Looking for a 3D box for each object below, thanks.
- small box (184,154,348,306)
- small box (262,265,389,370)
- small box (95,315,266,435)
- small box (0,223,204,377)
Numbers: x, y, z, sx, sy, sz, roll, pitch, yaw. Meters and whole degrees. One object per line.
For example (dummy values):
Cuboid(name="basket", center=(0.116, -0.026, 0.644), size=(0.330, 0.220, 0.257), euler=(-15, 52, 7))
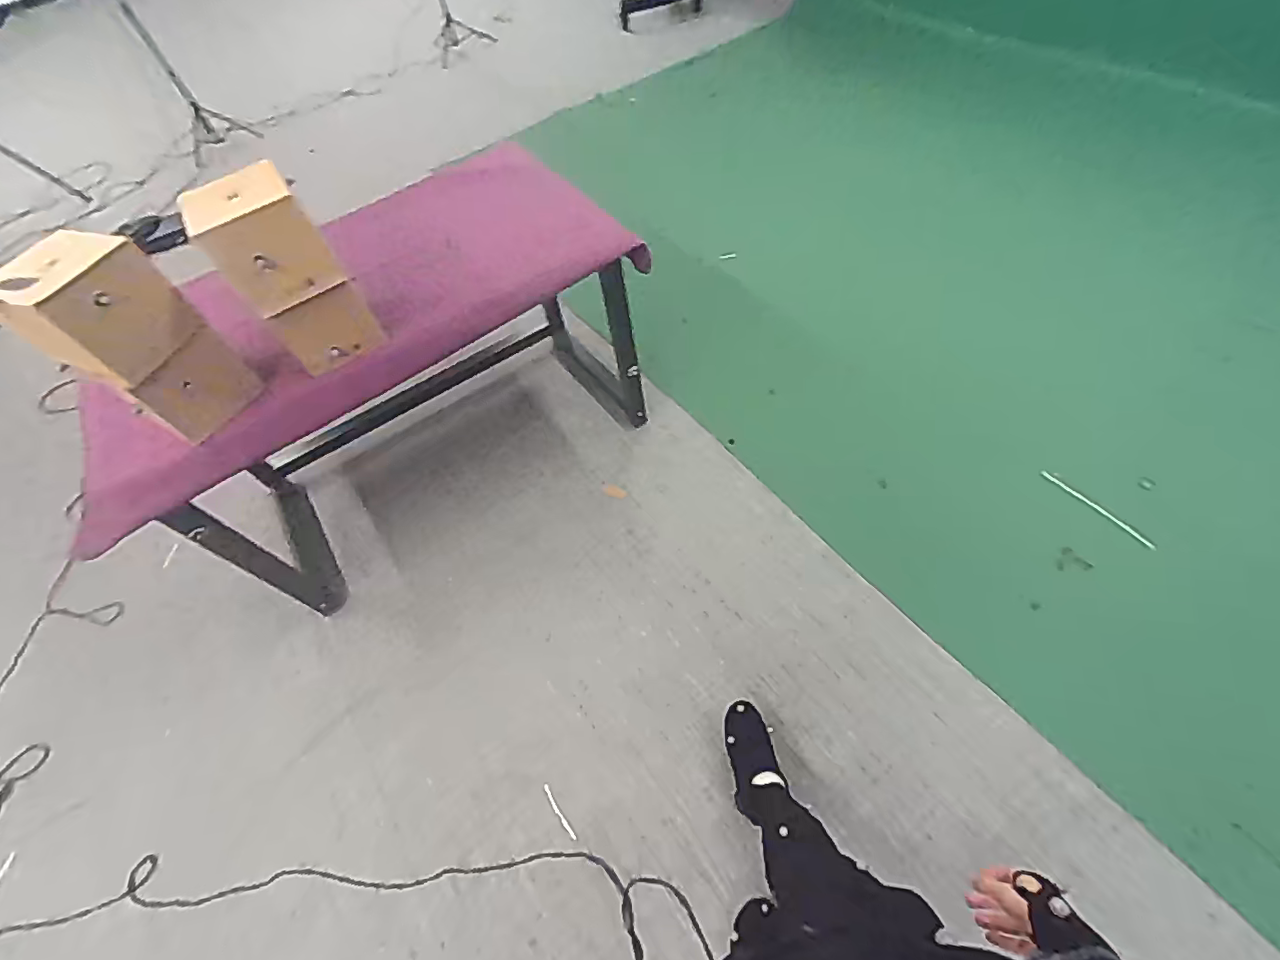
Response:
Cuboid(name="small box", center=(-0.659, -0.438, 0.968), size=(0.168, 0.176, 0.179), euler=(-33, 57, -12))
Cuboid(name="small box", center=(-0.652, -0.360, 1.111), size=(0.168, 0.176, 0.179), euler=(-32, 58, -13))
Cuboid(name="small box", center=(-0.884, -0.216, 1.044), size=(0.168, 0.176, 0.179), euler=(24, 63, 21))
Cuboid(name="small box", center=(-0.894, -0.295, 0.898), size=(0.168, 0.176, 0.179), euler=(13, 58, 15))
